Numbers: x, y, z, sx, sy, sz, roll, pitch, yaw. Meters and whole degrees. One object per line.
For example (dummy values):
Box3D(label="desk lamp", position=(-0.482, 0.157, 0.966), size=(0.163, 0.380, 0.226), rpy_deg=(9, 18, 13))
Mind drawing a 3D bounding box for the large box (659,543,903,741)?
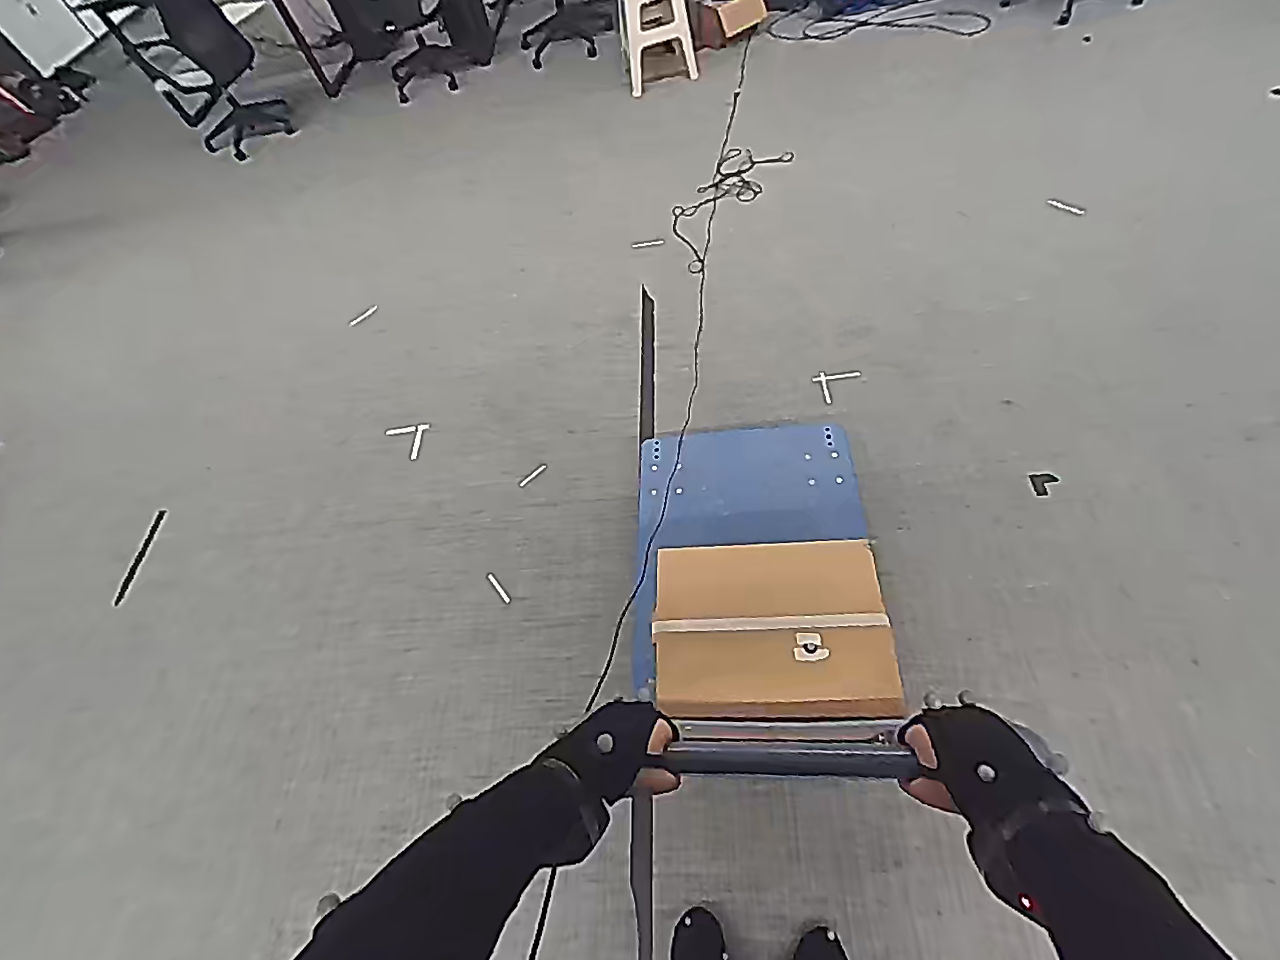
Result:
Box3D(label="large box", position=(0.256, 0.344, 1.106), size=(0.408, 0.320, 0.320), rpy_deg=(-4, 59, 8))
